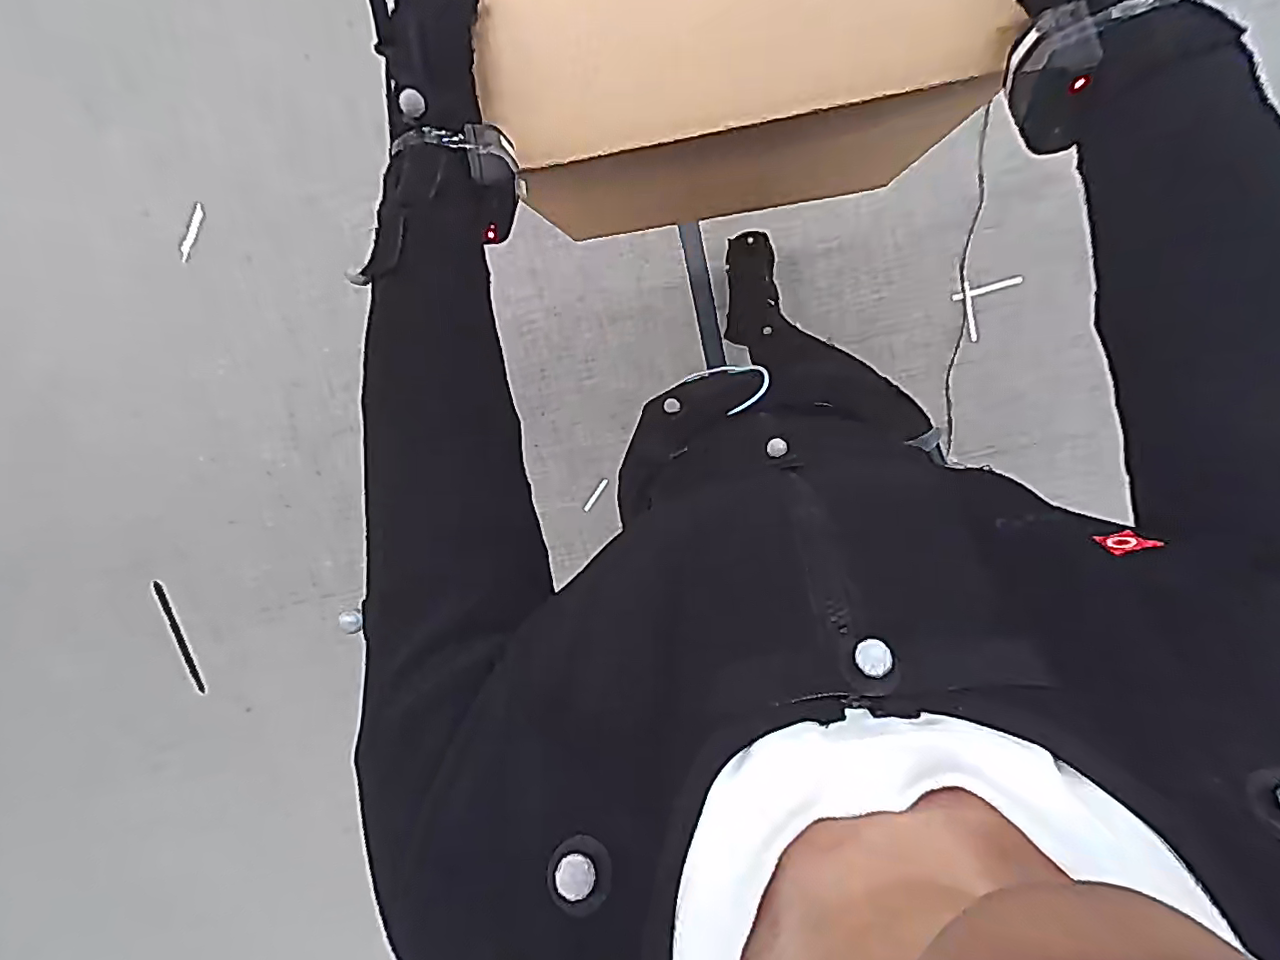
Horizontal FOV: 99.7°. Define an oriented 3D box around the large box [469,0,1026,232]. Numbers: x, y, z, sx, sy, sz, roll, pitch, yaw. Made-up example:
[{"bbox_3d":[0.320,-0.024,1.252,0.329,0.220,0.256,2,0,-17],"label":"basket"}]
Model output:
[{"bbox_3d":[0.069,-0.466,0.521,0.408,0.320,0.320,-7,104,7],"label":"large box"}]
